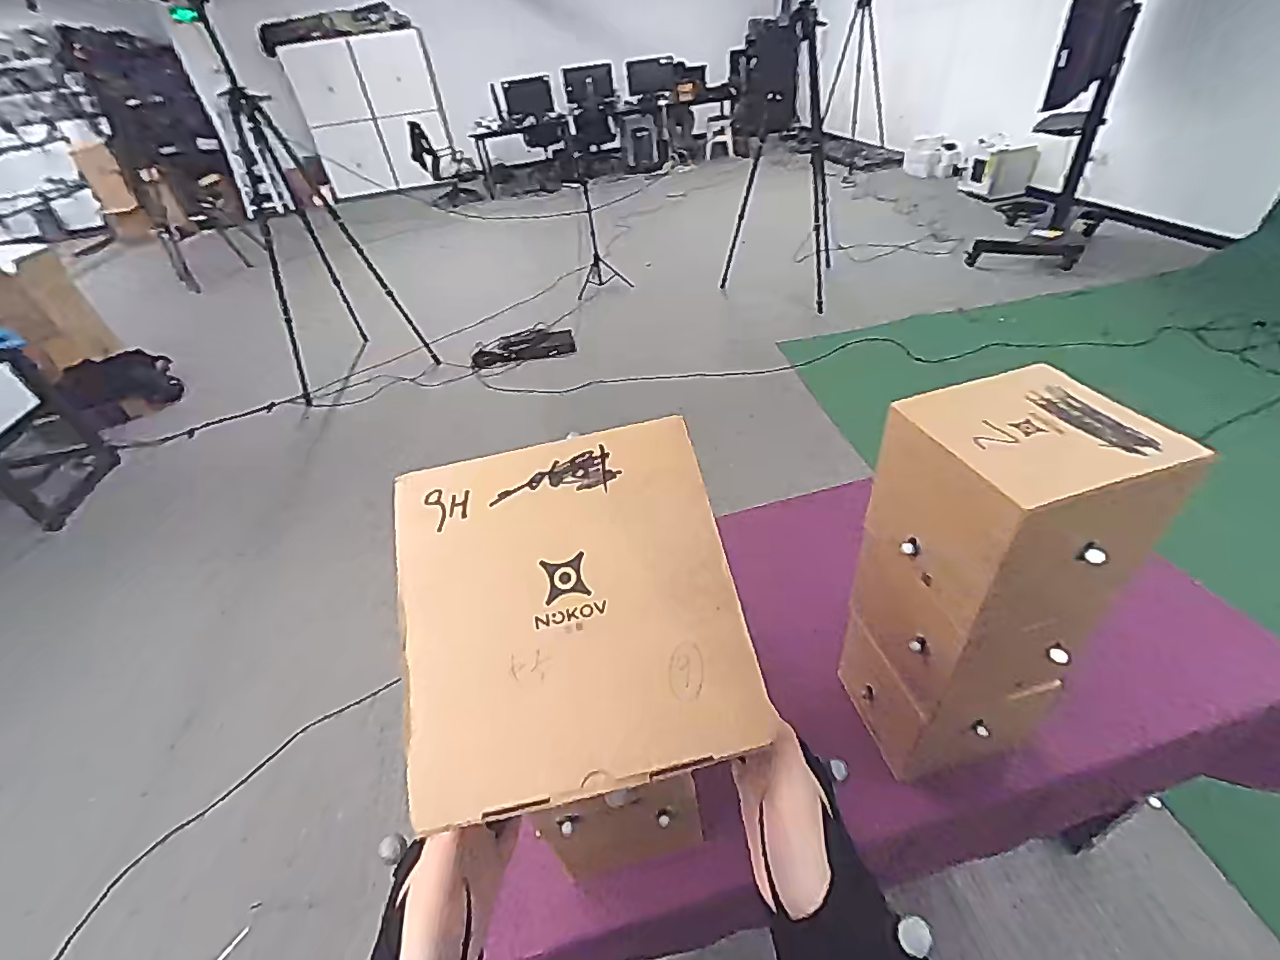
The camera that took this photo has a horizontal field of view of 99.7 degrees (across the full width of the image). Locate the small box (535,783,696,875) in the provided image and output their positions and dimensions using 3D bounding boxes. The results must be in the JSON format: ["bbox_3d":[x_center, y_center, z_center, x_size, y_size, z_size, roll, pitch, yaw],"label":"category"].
[{"bbox_3d":[-0.035,0.368,0.691,0.179,0.176,0.168,-13,40,-7],"label":"small box"}]

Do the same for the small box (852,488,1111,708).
[{"bbox_3d":[0.374,0.141,0.633,0.168,0.176,0.179,-13,39,-7],"label":"small box"}]

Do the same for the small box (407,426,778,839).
[{"bbox_3d":[-0.029,0.092,0.343,0.168,0.176,0.179,-12,68,-3],"label":"small box"}]

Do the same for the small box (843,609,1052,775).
[{"bbox_3d":[0.392,0.270,0.732,0.179,0.176,0.168,-12,40,-5],"label":"small box"}]
